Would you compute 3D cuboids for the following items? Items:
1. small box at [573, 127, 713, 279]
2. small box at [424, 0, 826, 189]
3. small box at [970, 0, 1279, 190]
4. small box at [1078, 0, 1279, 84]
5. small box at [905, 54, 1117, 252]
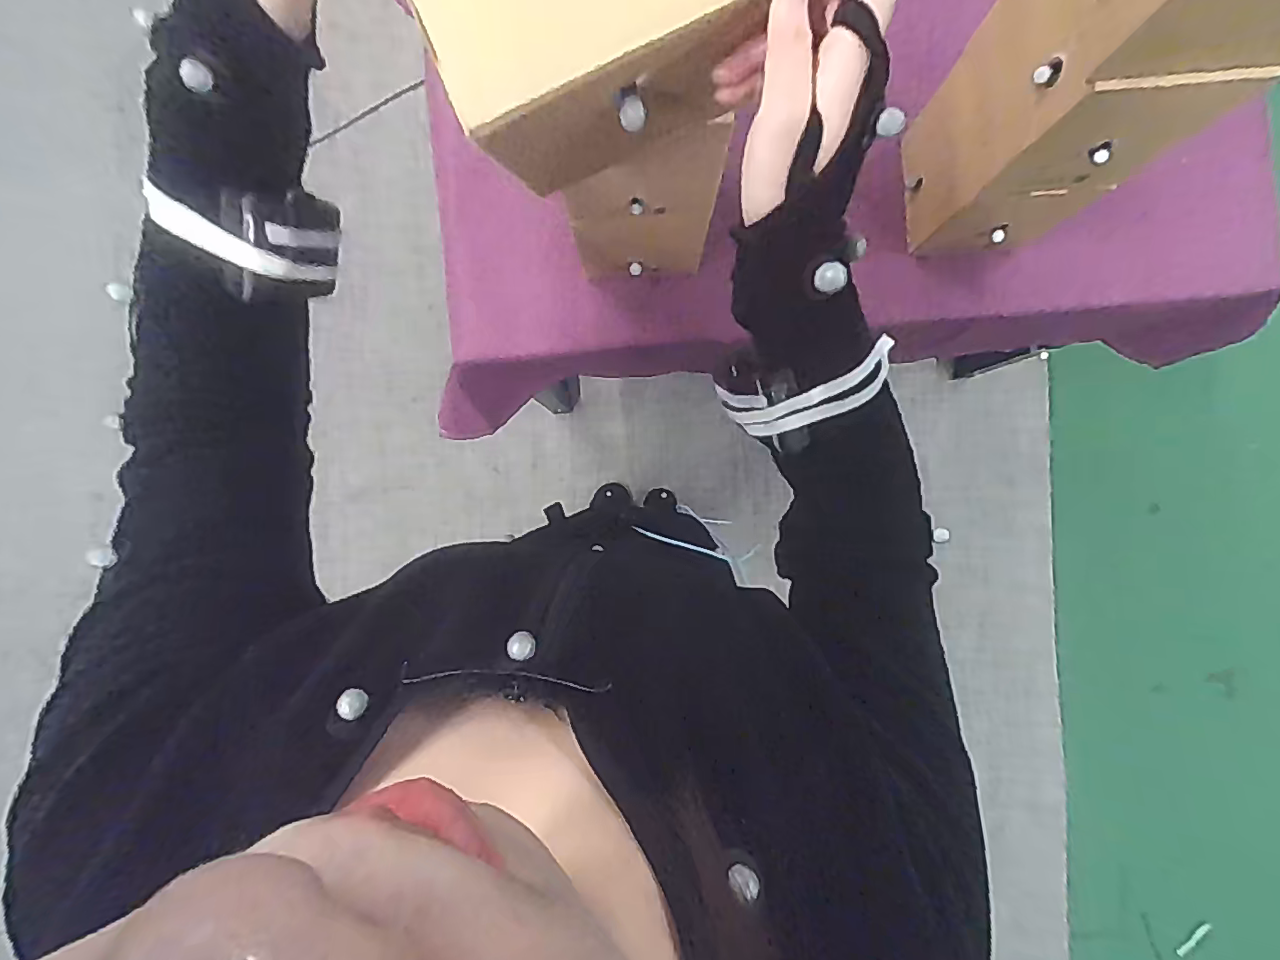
[{"bbox_3d":[0.002,-0.382,0.709,0.168,0.176,0.179,-2,90,0],"label":"small box"},{"bbox_3d":[-0.020,-0.287,0.296,0.179,0.176,0.168,-18,107,9],"label":"small box"},{"bbox_3d":[0.462,-0.413,0.540,0.168,0.176,0.179,-4,89,0],"label":"small box"},{"bbox_3d":[0.456,-0.419,0.377,0.179,0.176,0.168,-4,88,1],"label":"small box"},{"bbox_3d":[0.468,-0.412,0.706,0.168,0.176,0.179,-3,90,0],"label":"small box"}]
